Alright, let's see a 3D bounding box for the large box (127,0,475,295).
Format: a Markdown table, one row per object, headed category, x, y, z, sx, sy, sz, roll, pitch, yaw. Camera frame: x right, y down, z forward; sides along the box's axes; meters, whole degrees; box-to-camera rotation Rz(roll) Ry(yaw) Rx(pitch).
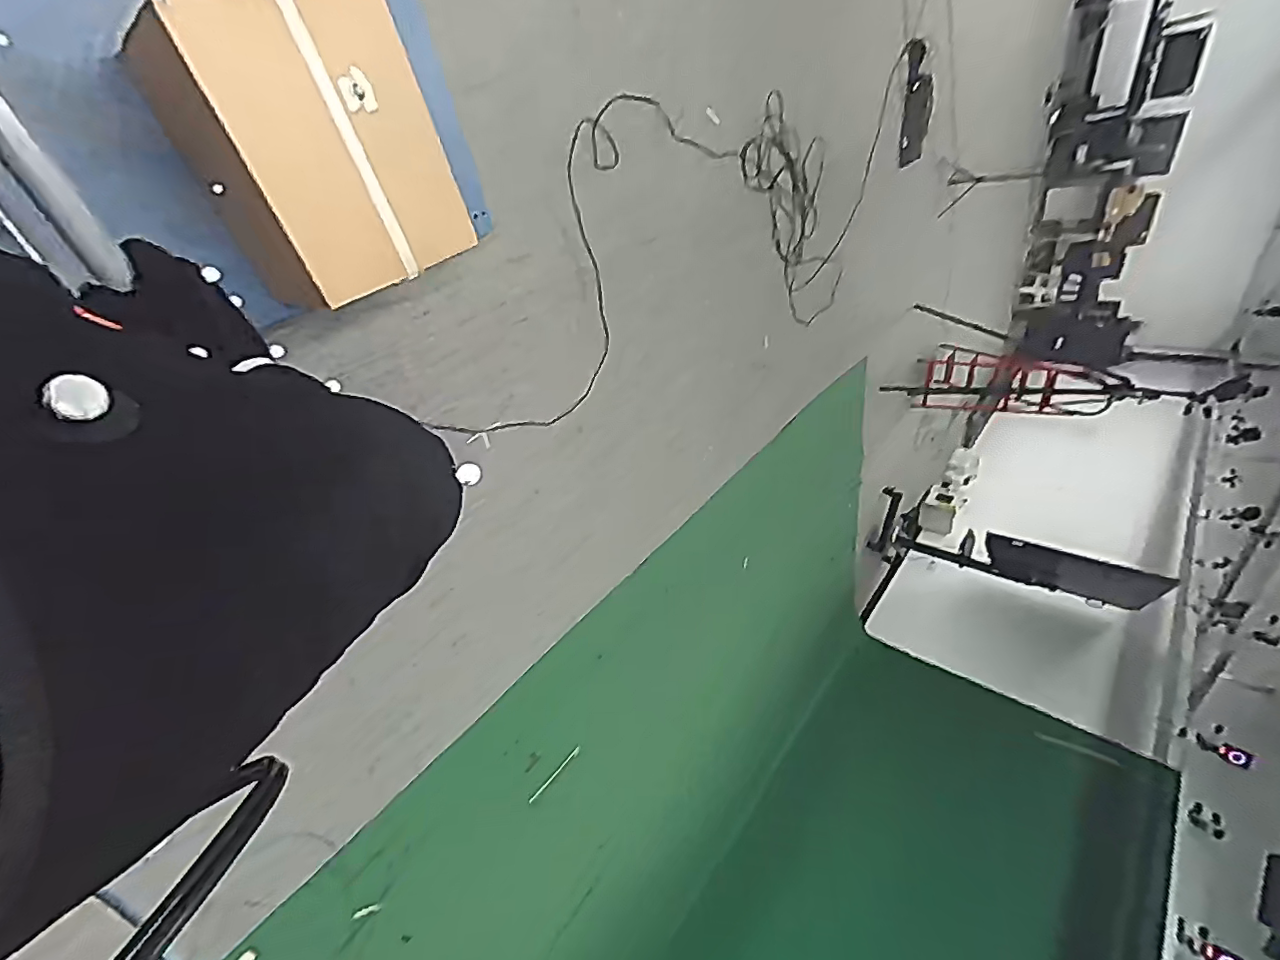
| category | x | y | z | sx | sy | sz | roll | pitch | yaw |
| --- | --- | --- | --- | --- | --- | --- | --- | --- | --- |
| large box | -0.568 | -0.582 | 0.949 | 0.320 | 0.320 | 0.408 | -41 | 132 | -30 |
